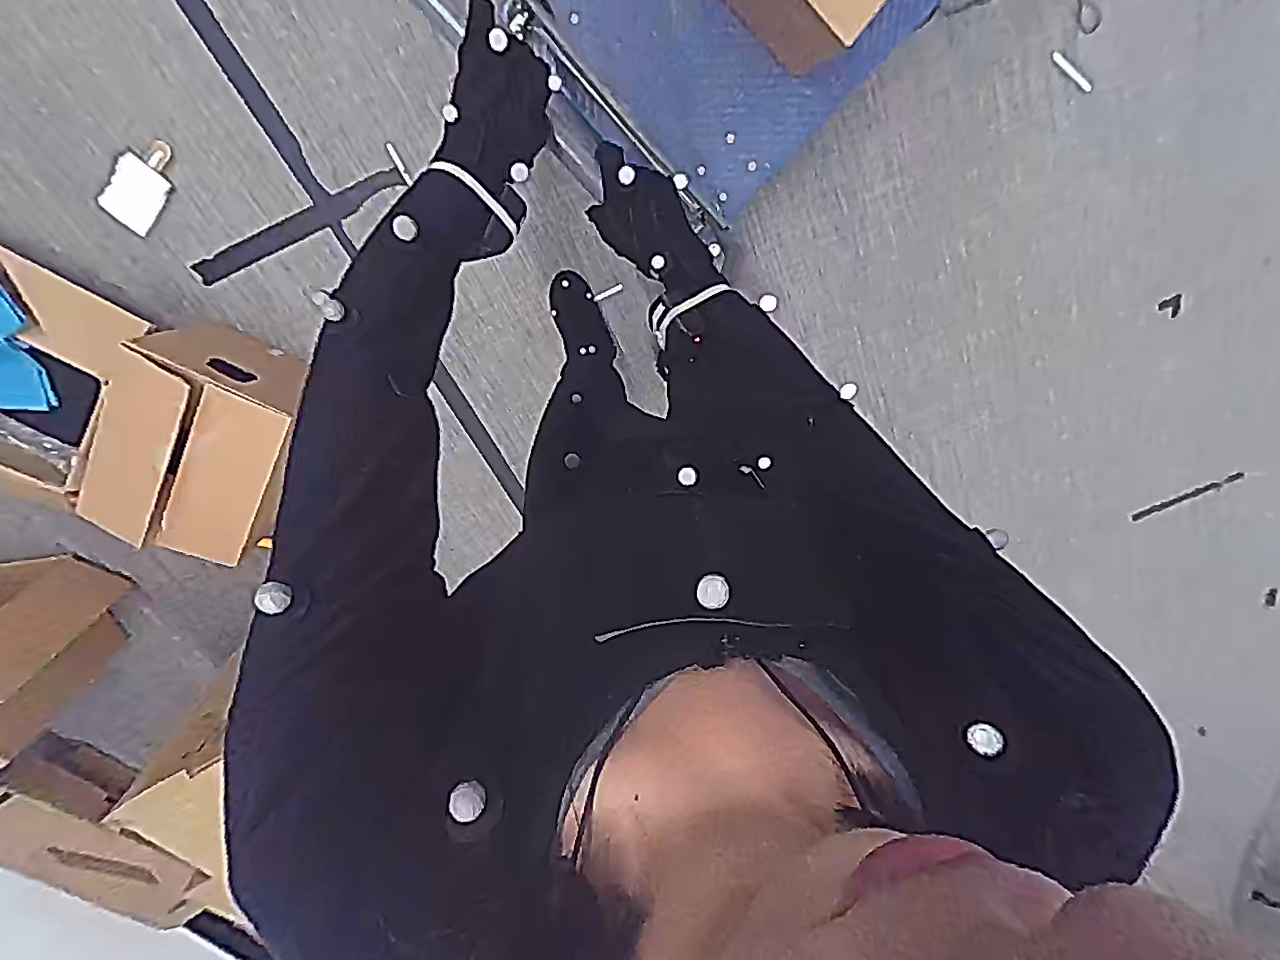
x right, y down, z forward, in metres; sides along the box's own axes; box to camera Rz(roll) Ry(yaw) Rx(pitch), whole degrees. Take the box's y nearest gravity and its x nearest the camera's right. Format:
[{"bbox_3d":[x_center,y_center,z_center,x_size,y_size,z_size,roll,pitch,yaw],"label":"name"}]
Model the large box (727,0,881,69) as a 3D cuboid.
[{"bbox_3d":[0.238,-0.927,0.804,0.408,0.320,0.320,33,115,-19],"label":"large box"}]
